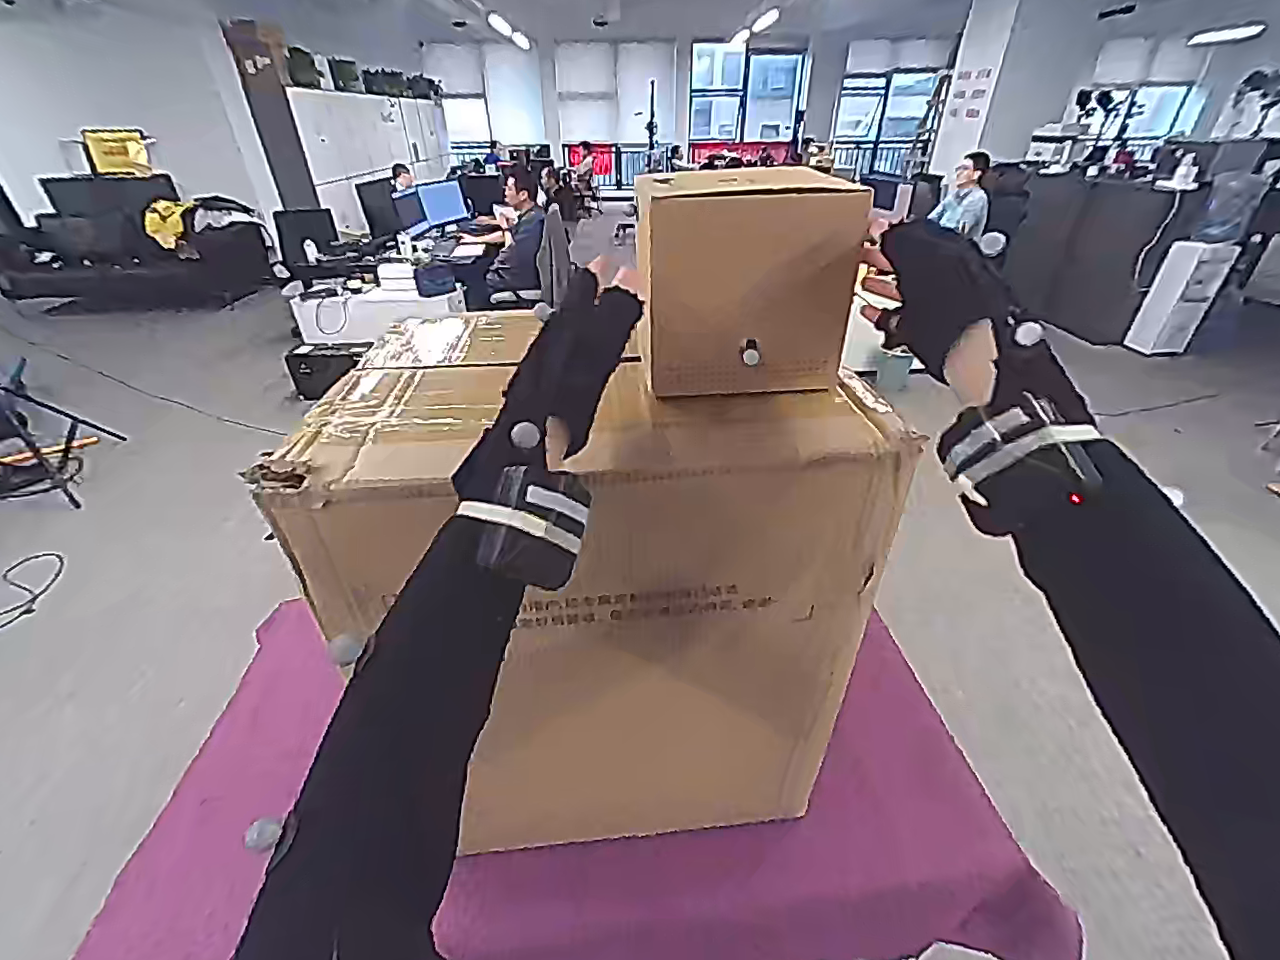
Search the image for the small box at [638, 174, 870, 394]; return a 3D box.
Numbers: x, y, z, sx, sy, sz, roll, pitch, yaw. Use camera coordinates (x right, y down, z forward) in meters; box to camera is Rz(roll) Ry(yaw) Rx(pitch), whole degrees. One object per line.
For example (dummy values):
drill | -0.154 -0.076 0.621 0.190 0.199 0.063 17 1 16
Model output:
small box | 0.089 -0.192 0.525 0.179 0.176 0.168 -3 33 -3
